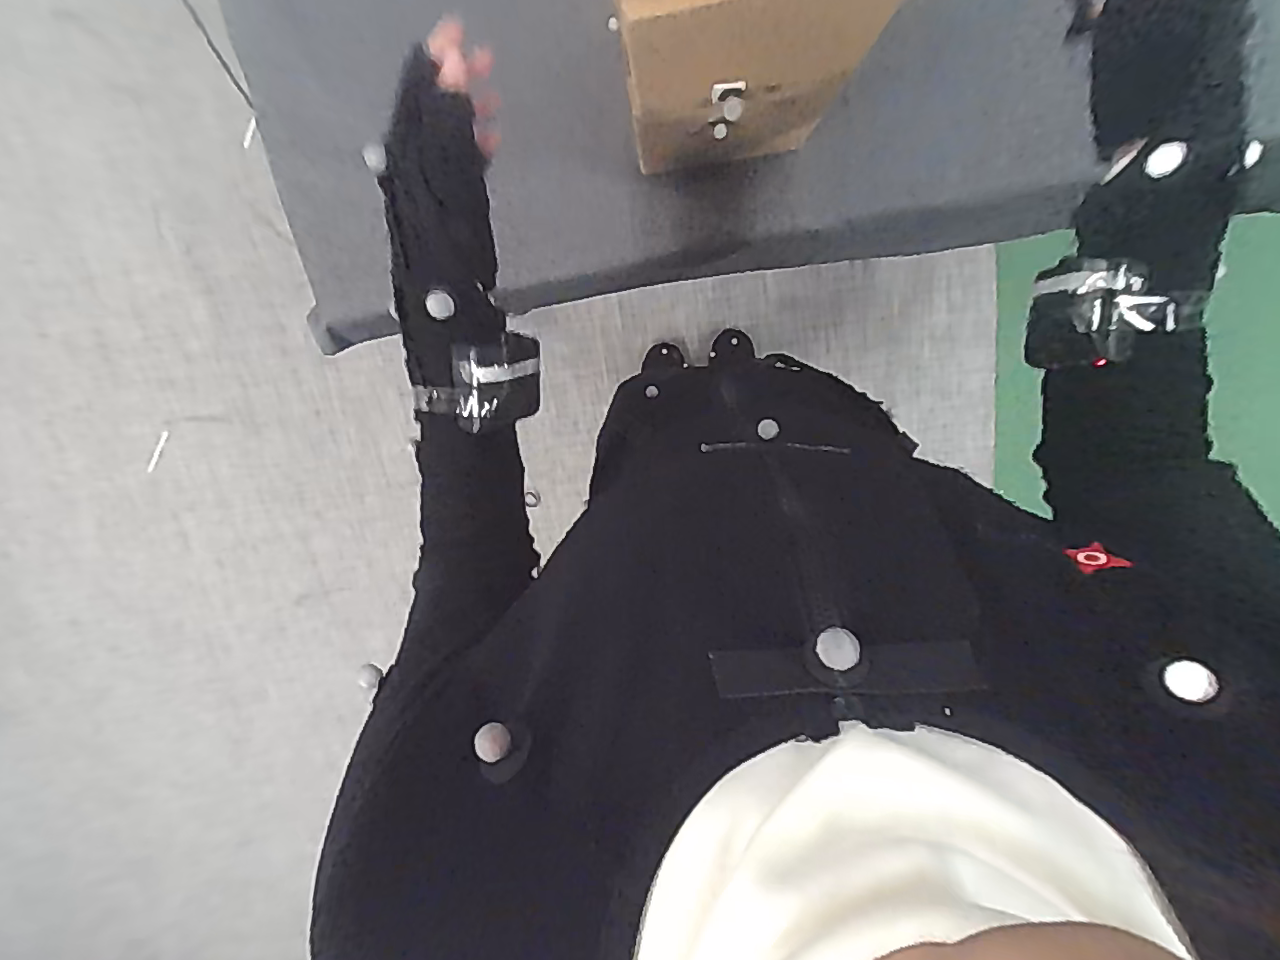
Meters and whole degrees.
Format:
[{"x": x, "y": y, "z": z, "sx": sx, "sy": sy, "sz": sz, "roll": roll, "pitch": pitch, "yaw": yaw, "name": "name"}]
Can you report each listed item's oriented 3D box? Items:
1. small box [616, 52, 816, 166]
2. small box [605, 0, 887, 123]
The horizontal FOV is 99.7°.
[{"x": 0.068, "y": -0.408, "z": 0.494, "sx": 0.179, "sy": 0.176, "sz": 0.168, "roll": -6, "pitch": 105, "yaw": 5, "name": "small box"}, {"x": 0.056, "y": -0.362, "z": 0.339, "sx": 0.168, "sy": 0.176, "sz": 0.179, "roll": -6, "pitch": 105, "yaw": 7, "name": "small box"}]
